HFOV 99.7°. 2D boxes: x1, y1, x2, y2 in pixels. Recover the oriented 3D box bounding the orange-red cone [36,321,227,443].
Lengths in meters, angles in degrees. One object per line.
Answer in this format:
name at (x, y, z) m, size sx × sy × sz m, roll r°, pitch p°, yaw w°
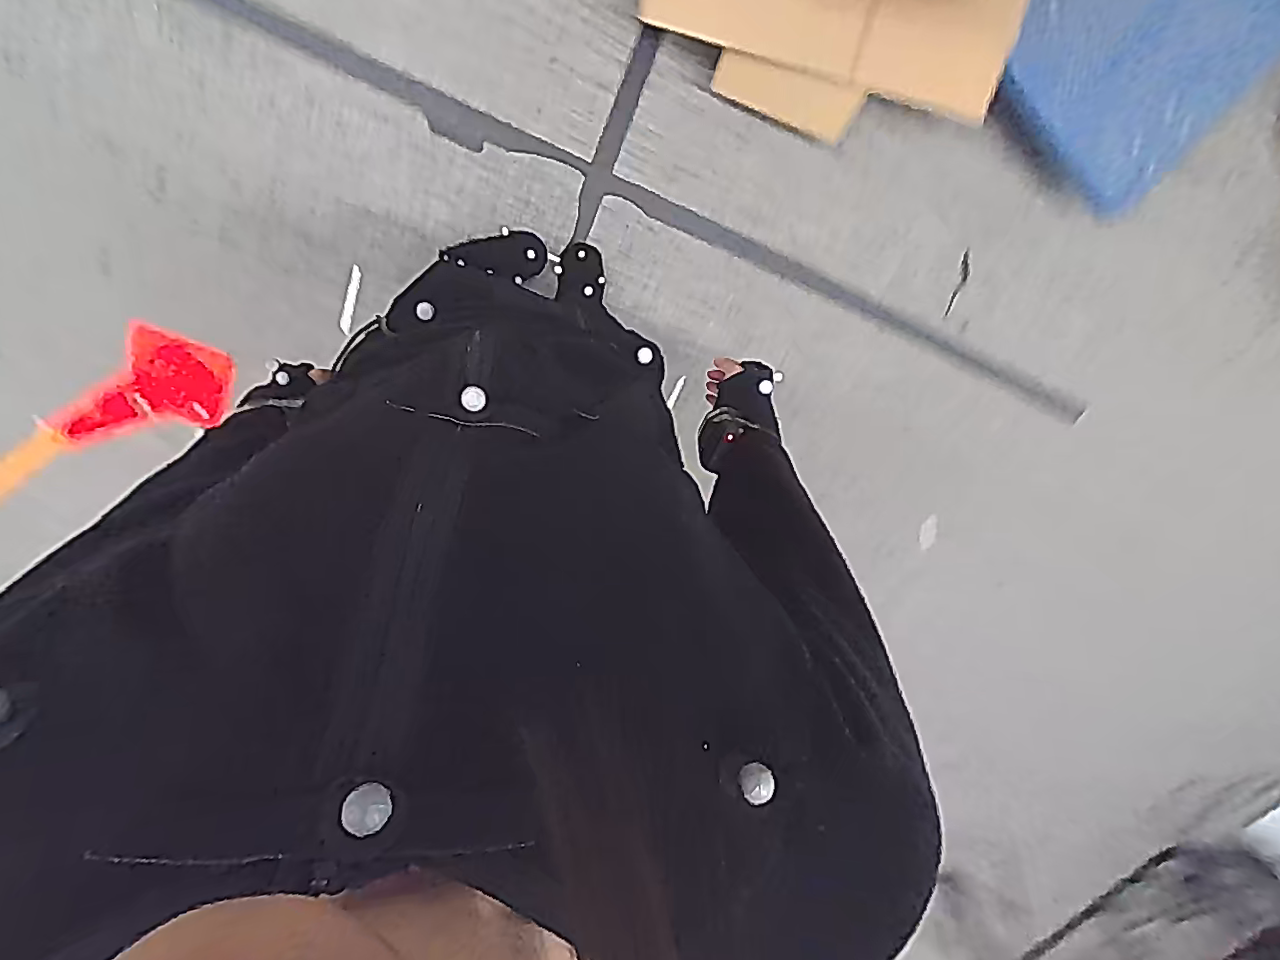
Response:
orange-red cone at (-1.041, -0.162, 1.080) m, size 0.198 × 0.360 × 0.199 m, roll 23°, pitch 111°, yaw -20°
